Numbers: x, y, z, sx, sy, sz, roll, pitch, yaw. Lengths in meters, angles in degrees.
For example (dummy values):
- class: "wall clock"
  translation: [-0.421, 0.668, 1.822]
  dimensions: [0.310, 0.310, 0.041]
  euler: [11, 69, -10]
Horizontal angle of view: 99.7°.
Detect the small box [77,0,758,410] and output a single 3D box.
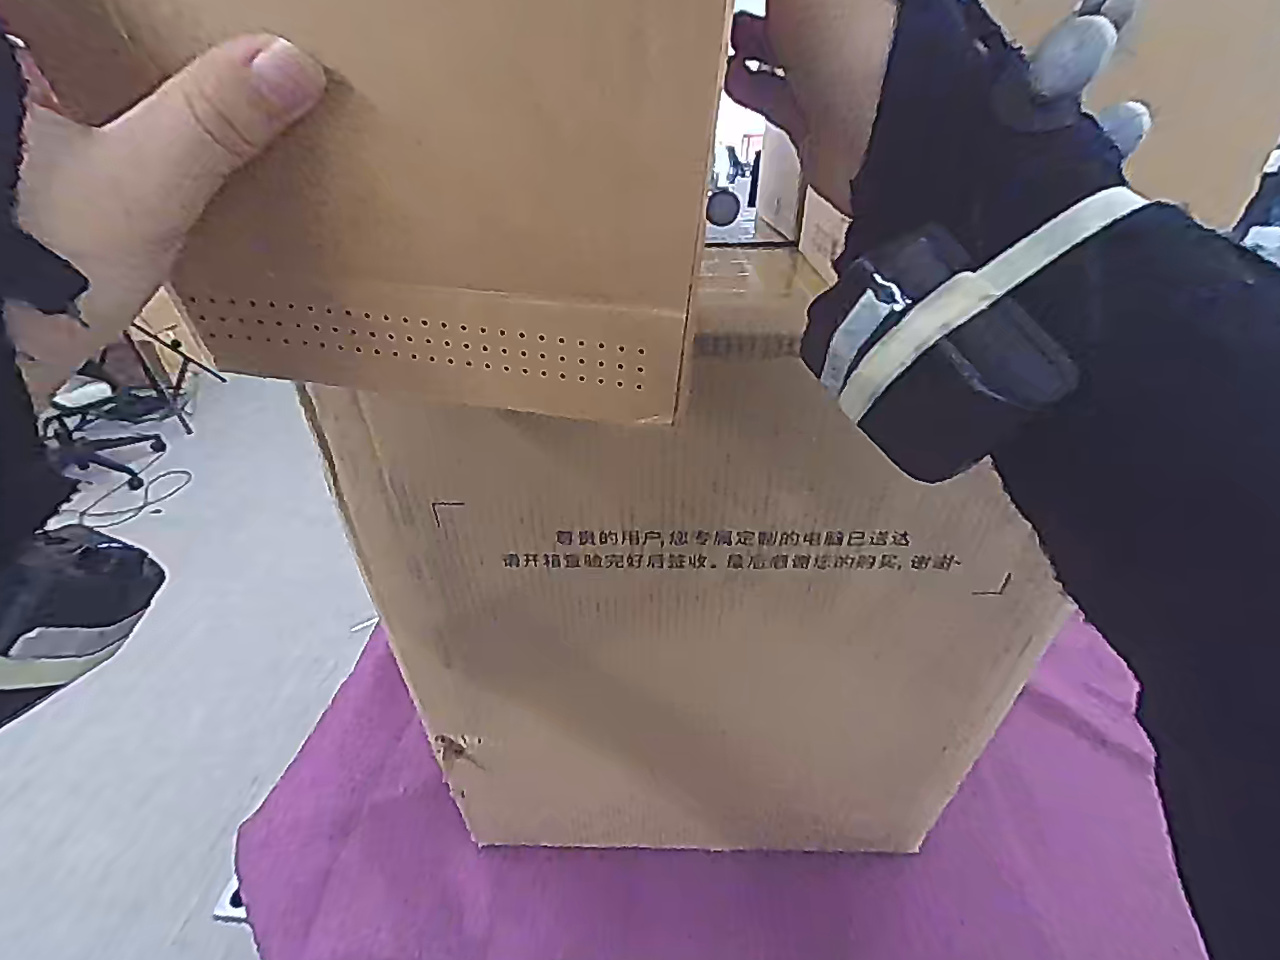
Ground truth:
- class: "small box"
  translation: [-0.053, -0.143, 0.197]
  dimensions: [0.179, 0.176, 0.168]
  euler: [8, 43, 1]
